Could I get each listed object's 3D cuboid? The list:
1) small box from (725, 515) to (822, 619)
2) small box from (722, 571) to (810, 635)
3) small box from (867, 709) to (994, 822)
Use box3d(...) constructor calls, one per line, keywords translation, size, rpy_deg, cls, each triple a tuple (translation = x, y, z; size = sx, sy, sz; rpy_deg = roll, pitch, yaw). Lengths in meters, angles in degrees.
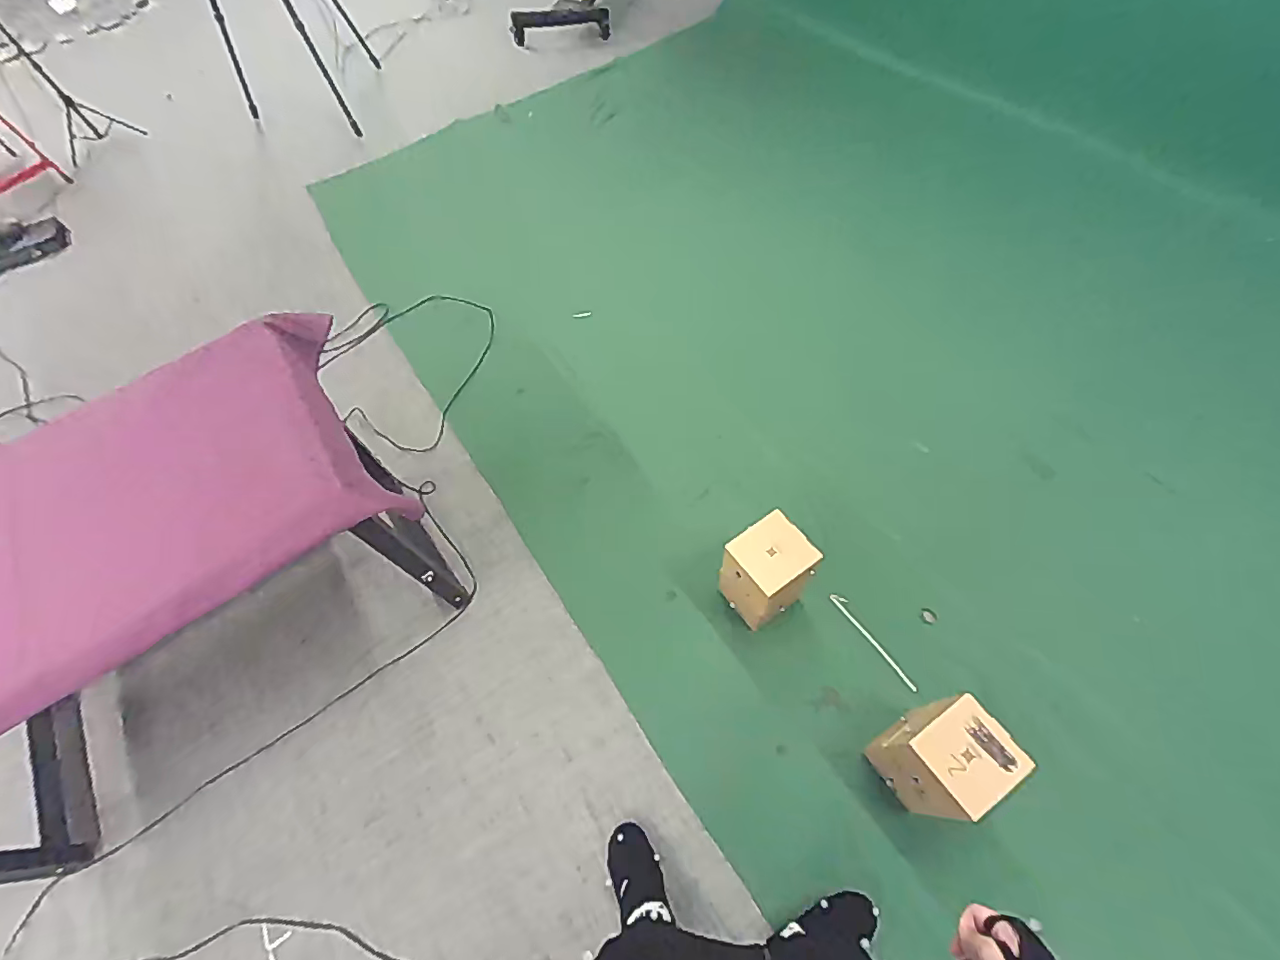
box3d(translation=(0.334, 0.227, 1.384), size=(0.179, 0.176, 0.168), rpy_deg=(-32, 61, -14), cls="small box")
box3d(translation=(0.346, 0.307, 1.524), size=(0.179, 0.176, 0.168), rpy_deg=(-33, 61, -12), cls="small box")
box3d(translation=(0.673, 0.672, 1.277), size=(0.179, 0.176, 0.168), rpy_deg=(-31, 62, -12), cls="small box")
